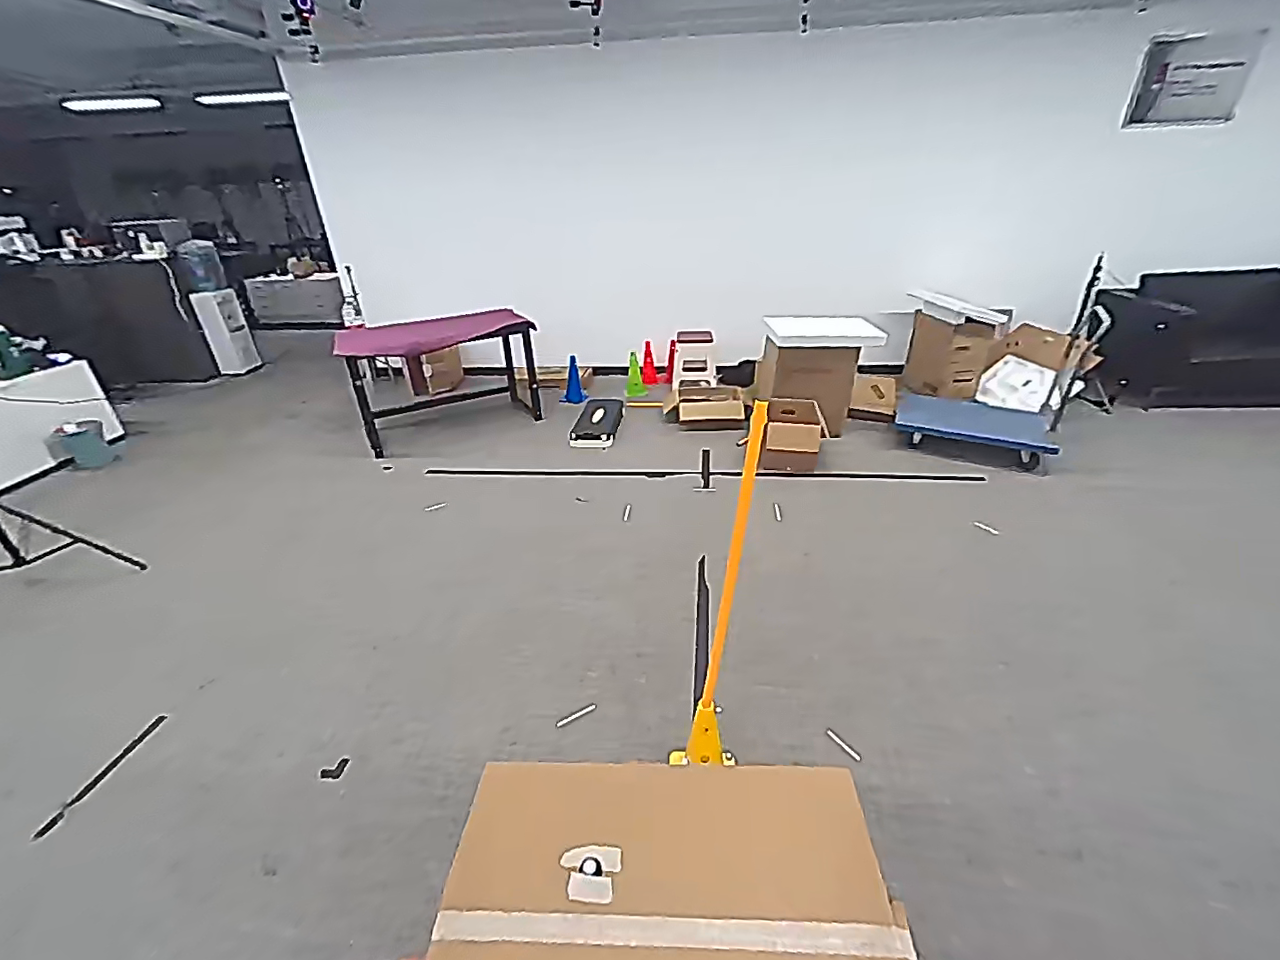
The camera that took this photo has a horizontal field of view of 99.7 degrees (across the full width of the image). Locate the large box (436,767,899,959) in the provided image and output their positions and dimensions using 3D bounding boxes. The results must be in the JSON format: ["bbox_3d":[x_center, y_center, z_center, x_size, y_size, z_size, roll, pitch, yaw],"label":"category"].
[{"bbox_3d":[0.034,0.531,0.546,0.408,0.320,0.320,-3,28,5],"label":"large box"}]
